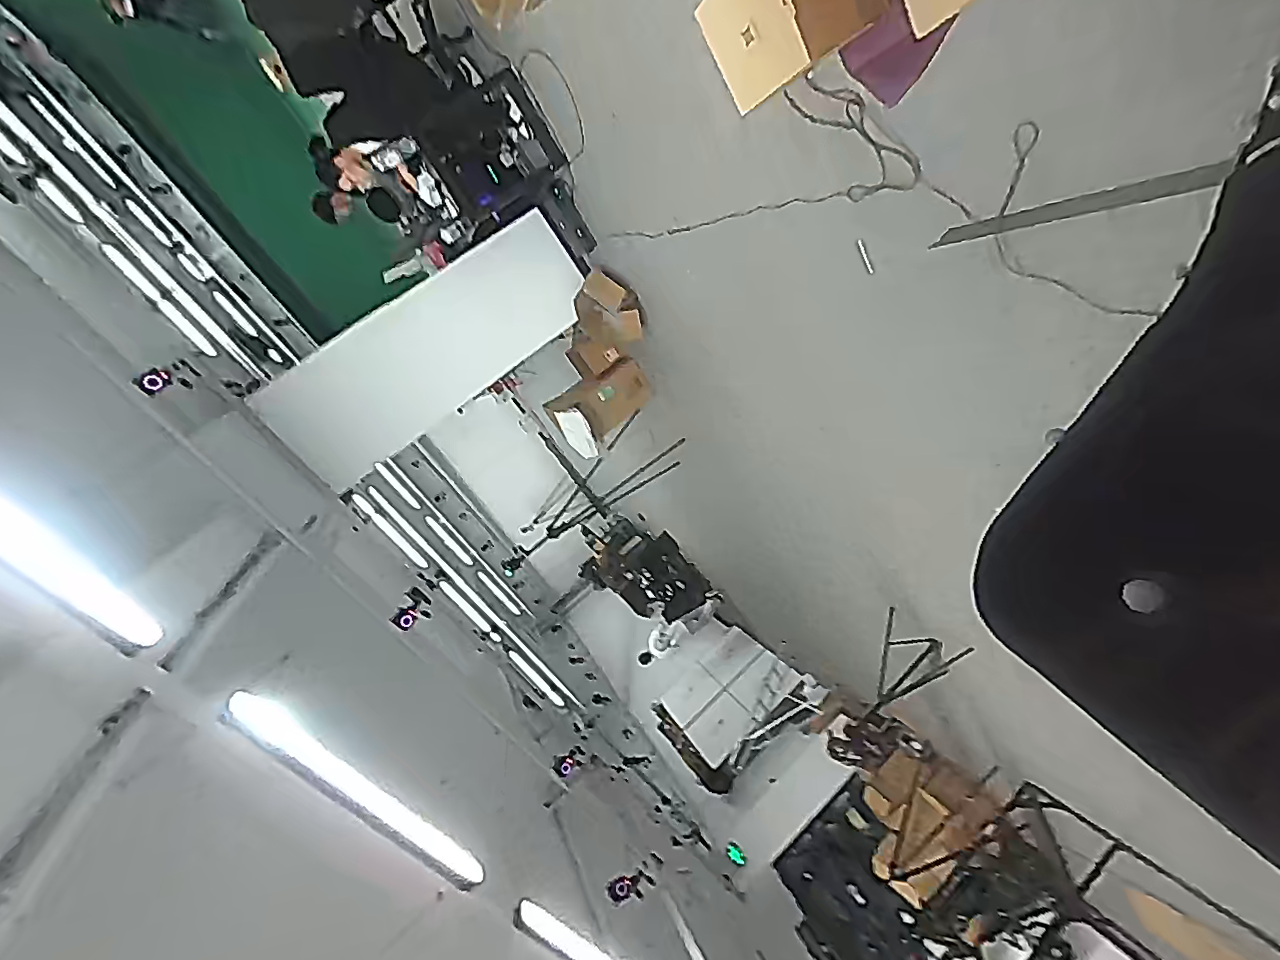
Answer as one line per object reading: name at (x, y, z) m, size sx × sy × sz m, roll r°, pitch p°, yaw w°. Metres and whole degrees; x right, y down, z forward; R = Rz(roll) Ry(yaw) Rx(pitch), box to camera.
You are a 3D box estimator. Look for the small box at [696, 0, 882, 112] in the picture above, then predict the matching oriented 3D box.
small box at (0.222, -0.706, 0.809) m, size 0.168 × 0.176 × 0.179 m, roll 55°, pitch 166°, yaw -22°
